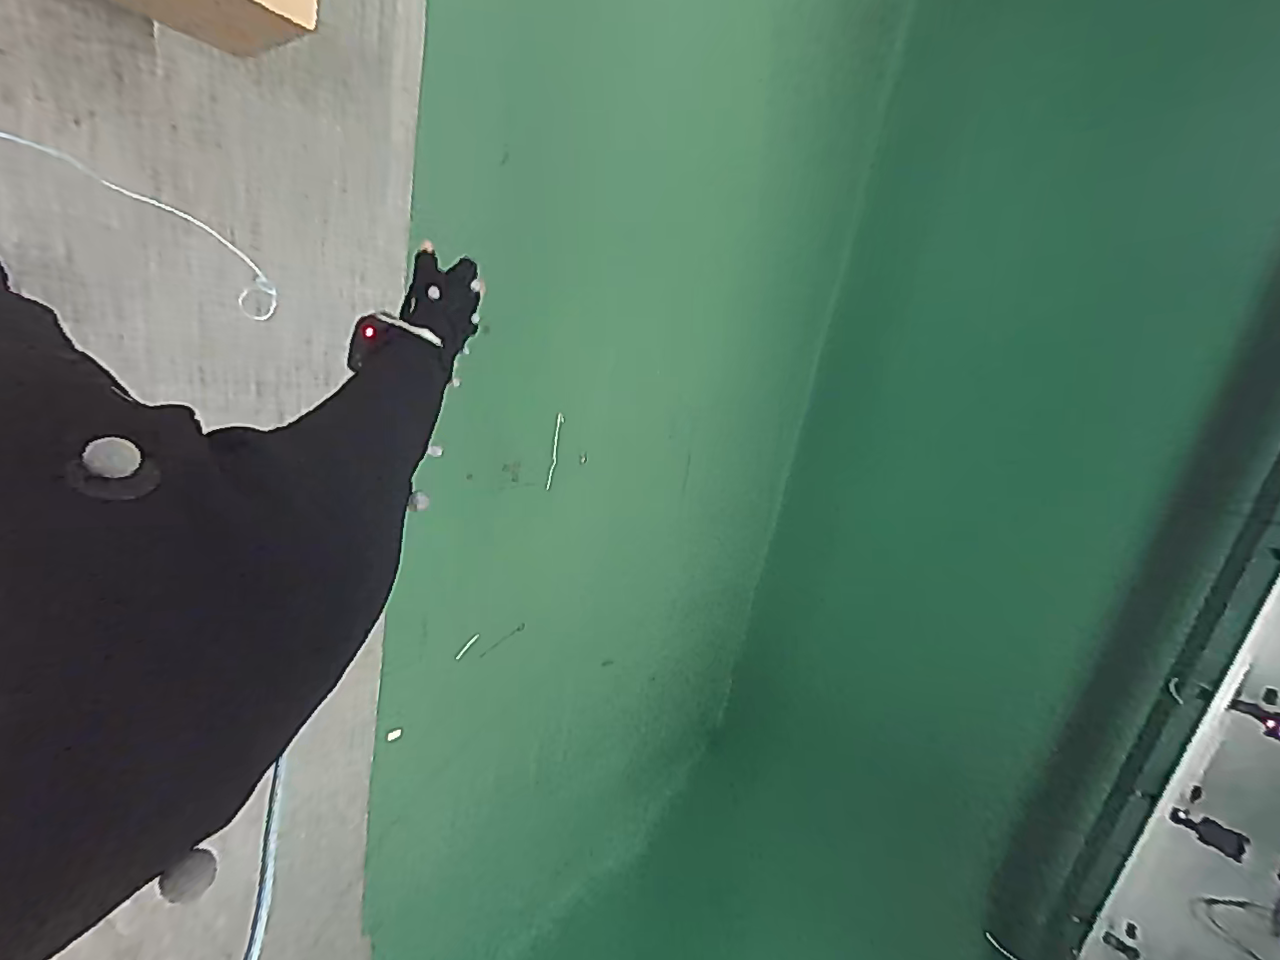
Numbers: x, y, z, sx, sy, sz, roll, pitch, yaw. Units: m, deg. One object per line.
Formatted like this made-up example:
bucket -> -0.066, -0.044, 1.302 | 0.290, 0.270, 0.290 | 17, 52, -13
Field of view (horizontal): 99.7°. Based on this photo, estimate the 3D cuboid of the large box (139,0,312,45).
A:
large box -> -0.703, -0.868, 0.714 | 0.408, 0.320, 0.320 | -6, 112, -52
